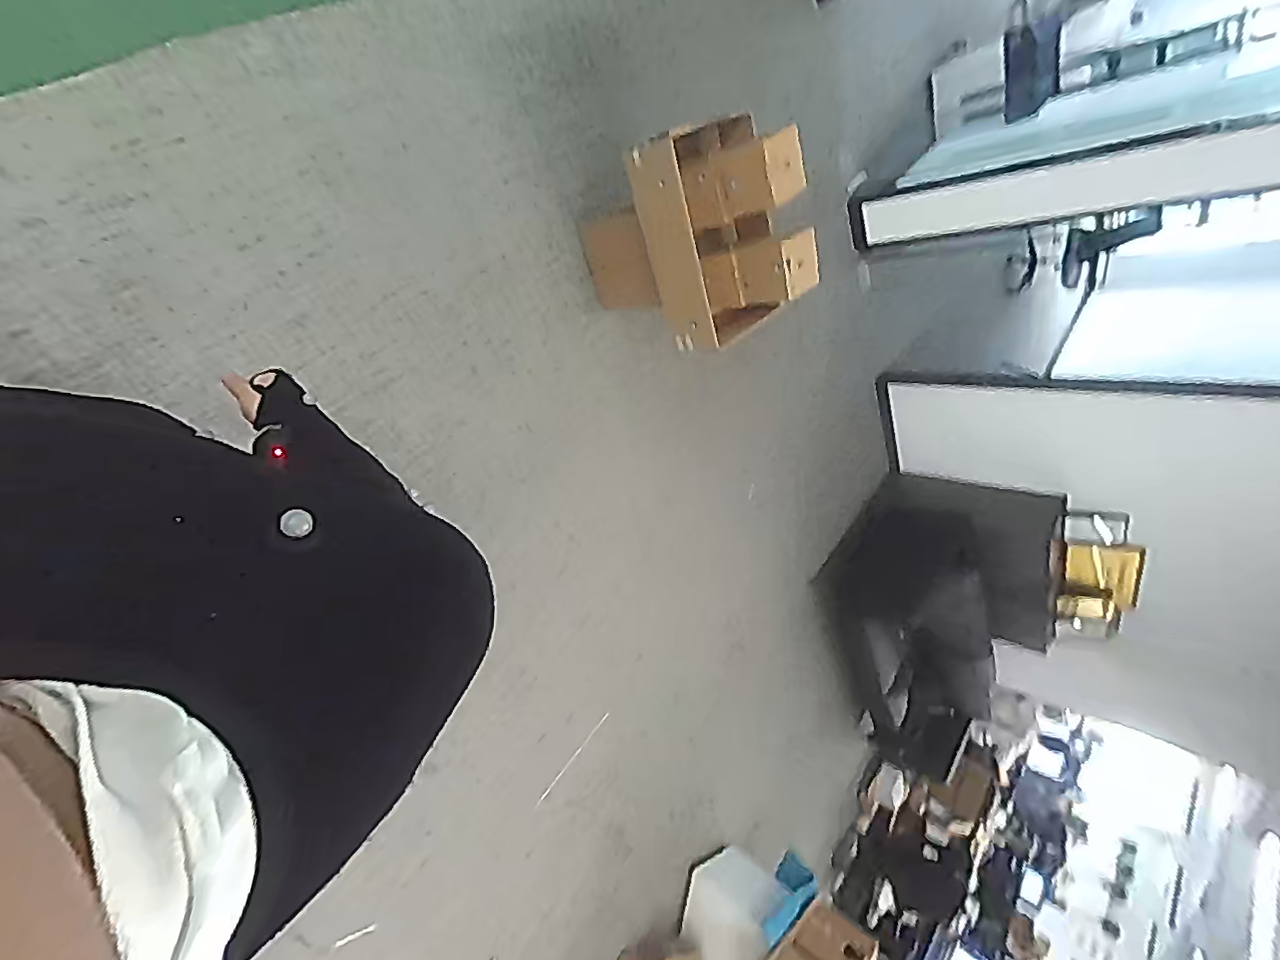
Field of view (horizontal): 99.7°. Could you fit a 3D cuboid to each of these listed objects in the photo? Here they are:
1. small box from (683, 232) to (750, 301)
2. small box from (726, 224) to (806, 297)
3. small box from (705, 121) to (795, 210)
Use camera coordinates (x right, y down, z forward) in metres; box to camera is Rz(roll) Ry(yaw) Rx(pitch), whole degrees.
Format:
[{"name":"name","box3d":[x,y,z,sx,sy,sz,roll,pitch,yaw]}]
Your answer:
[{"name":"small box","box3d":[0.269,-0.701,1.776,0.179,0.176,0.168,-38,126,-30]},{"name":"small box","box3d":[0.388,-0.674,1.666,0.179,0.176,0.168,-37,125,-32]},{"name":"small box","box3d":[0.312,-0.884,1.527,0.179,0.176,0.168,-42,127,-29]}]
